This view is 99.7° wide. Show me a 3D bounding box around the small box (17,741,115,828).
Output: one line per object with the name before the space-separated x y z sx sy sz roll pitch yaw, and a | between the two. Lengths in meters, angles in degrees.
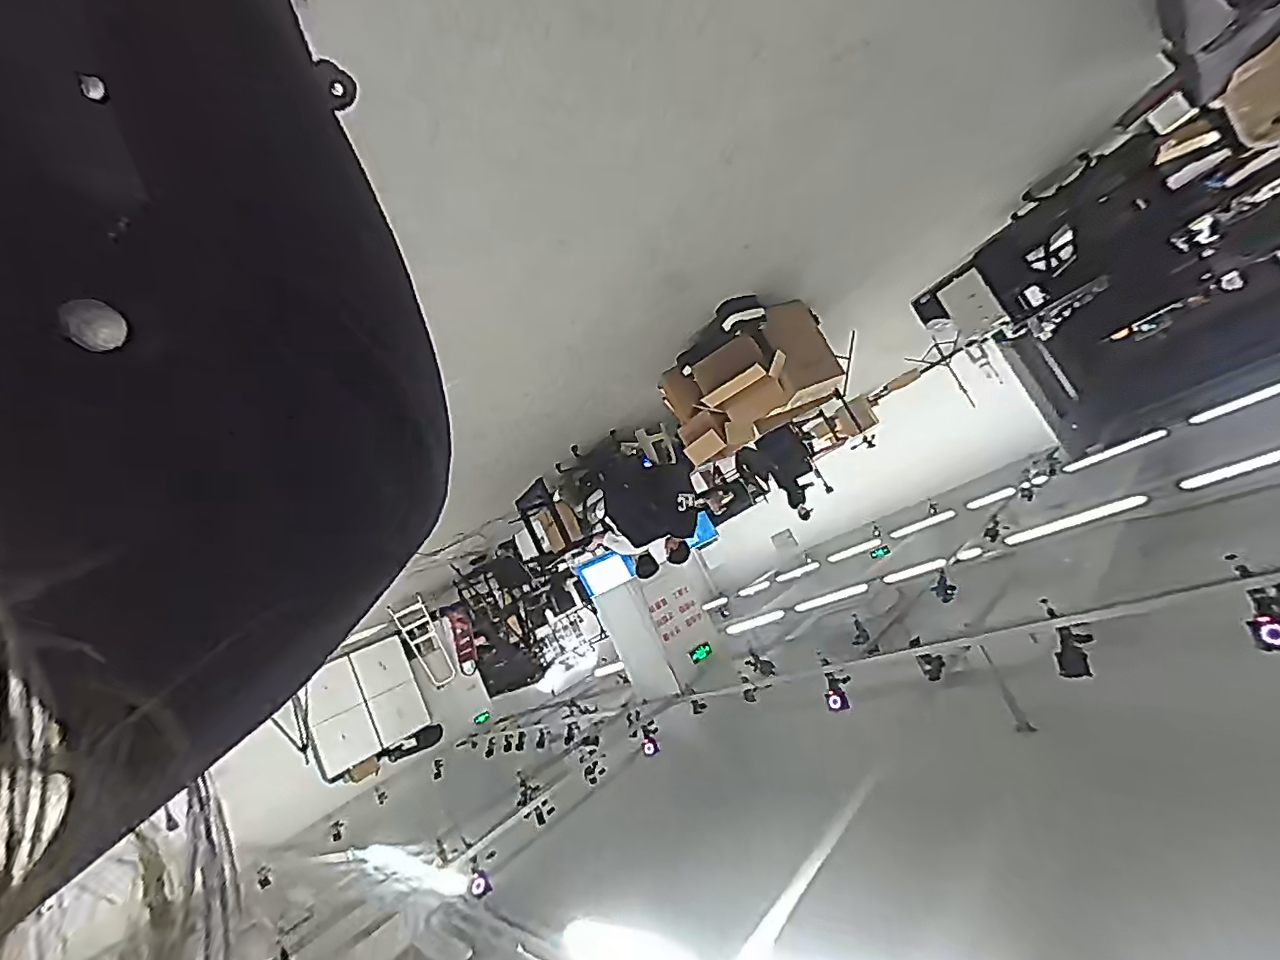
small box | -1.776 0.940 1.674 0.179 0.176 0.168 -19 168 -44

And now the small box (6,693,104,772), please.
small box | -1.849 0.796 1.712 0.168 0.176 0.179 -18 167 -40
